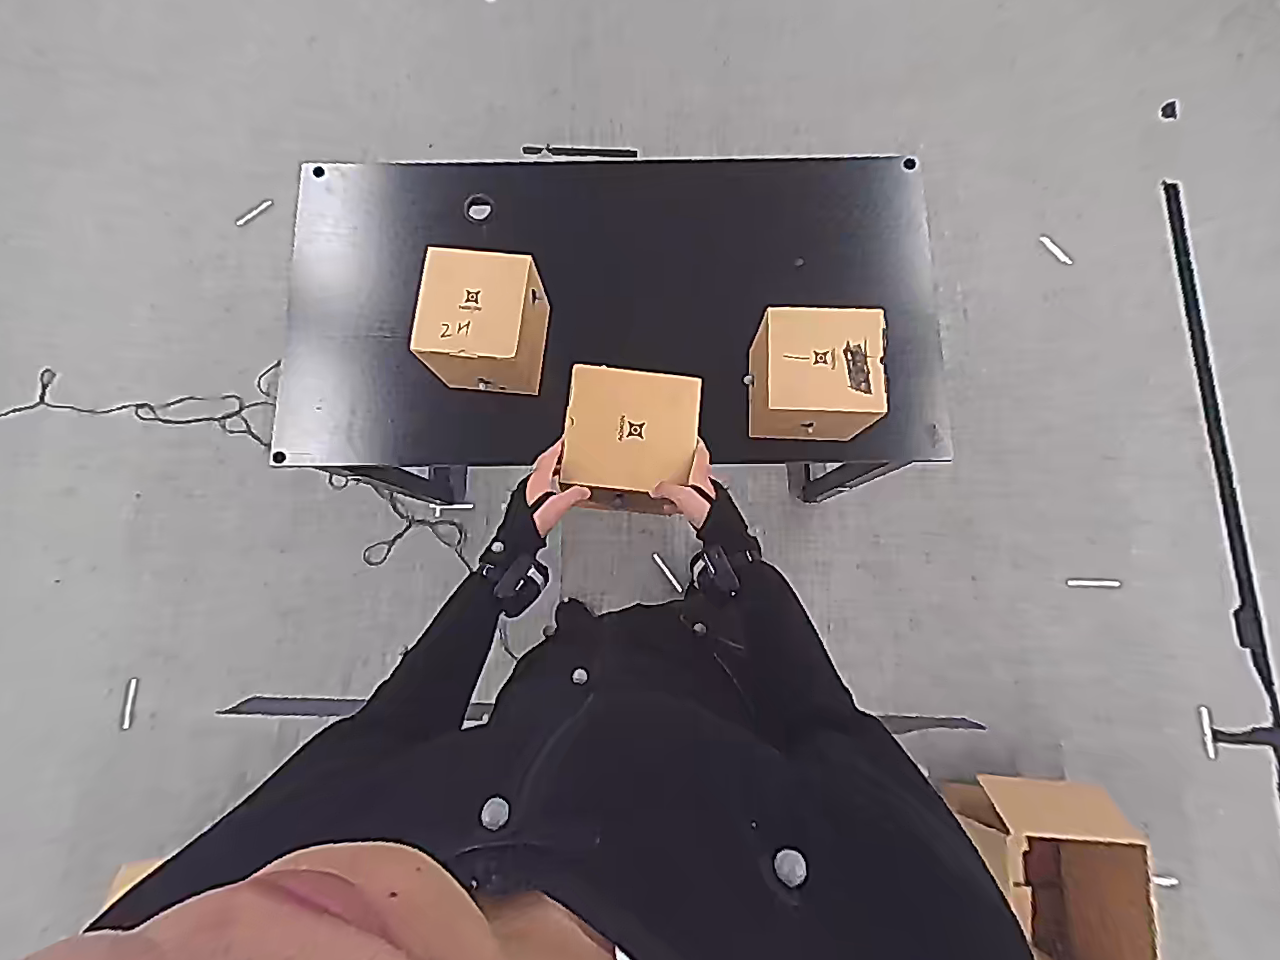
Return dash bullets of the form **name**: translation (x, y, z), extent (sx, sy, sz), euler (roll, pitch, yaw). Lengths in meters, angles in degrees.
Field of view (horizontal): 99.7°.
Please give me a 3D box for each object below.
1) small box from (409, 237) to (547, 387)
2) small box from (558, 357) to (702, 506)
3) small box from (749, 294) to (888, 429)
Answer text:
- **small box**: translation (-0.257, -0.272, 0.901), extent (0.168, 0.176, 0.179), euler (5, 81, 2)
- **small box**: translation (-0.016, -0.059, 0.777), extent (0.179, 0.176, 0.168), euler (5, 78, -2)
- **small box**: translation (0.279, -0.183, 0.876), extent (0.179, 0.176, 0.168), euler (2, 80, 2)
